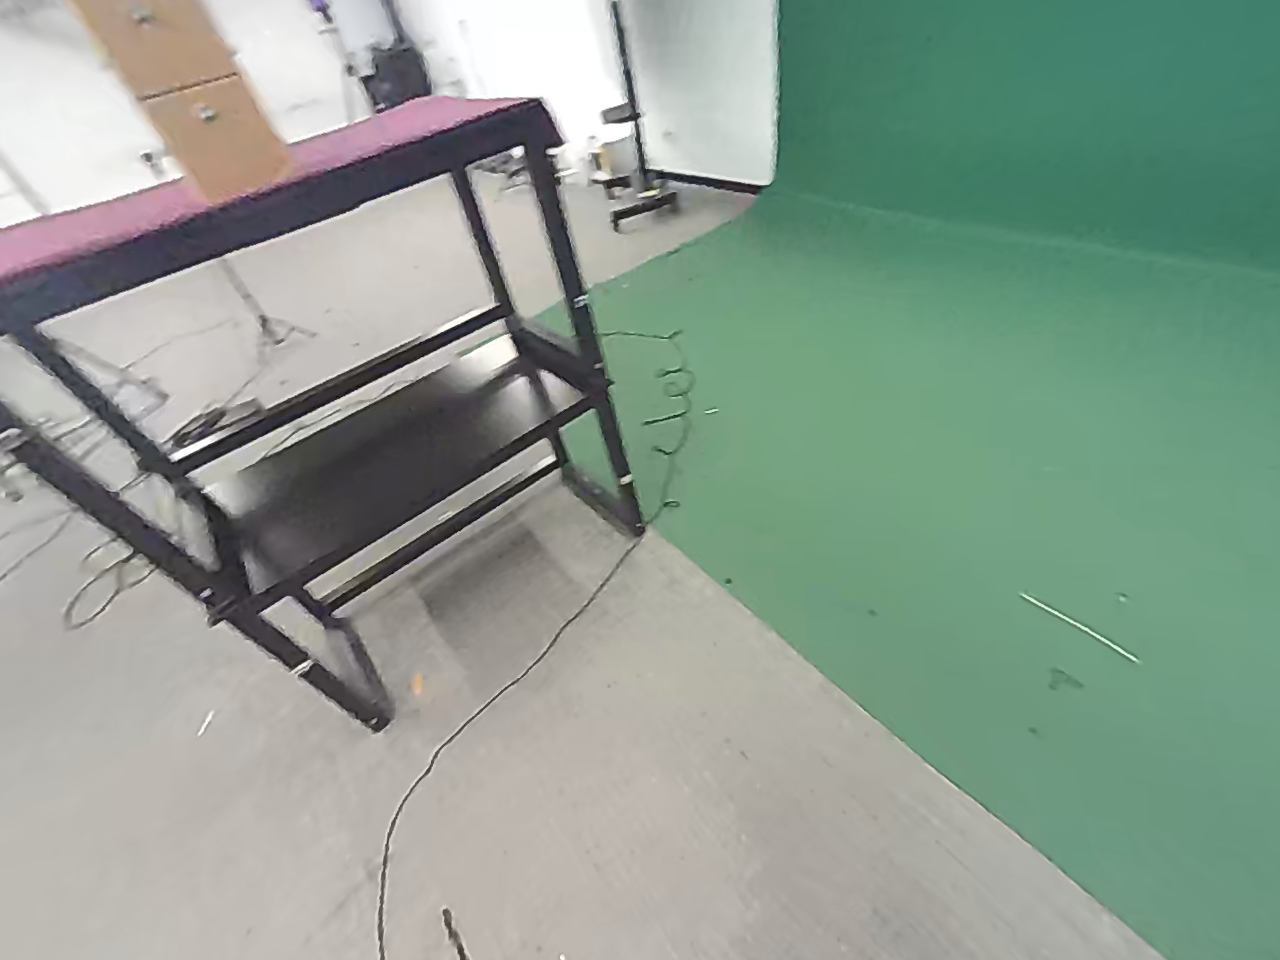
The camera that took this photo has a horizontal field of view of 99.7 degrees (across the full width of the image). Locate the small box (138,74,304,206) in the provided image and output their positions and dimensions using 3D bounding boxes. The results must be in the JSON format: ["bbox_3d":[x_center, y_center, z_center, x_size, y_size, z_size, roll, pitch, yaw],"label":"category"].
[{"bbox_3d":[-0.775,-0.631,1.008,0.179,0.176,0.168,-36,47,-22],"label":"small box"}]

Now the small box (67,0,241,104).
[{"bbox_3d":[-0.805,-0.748,0.898,0.179,0.176,0.168,-37,48,-21],"label":"small box"}]
